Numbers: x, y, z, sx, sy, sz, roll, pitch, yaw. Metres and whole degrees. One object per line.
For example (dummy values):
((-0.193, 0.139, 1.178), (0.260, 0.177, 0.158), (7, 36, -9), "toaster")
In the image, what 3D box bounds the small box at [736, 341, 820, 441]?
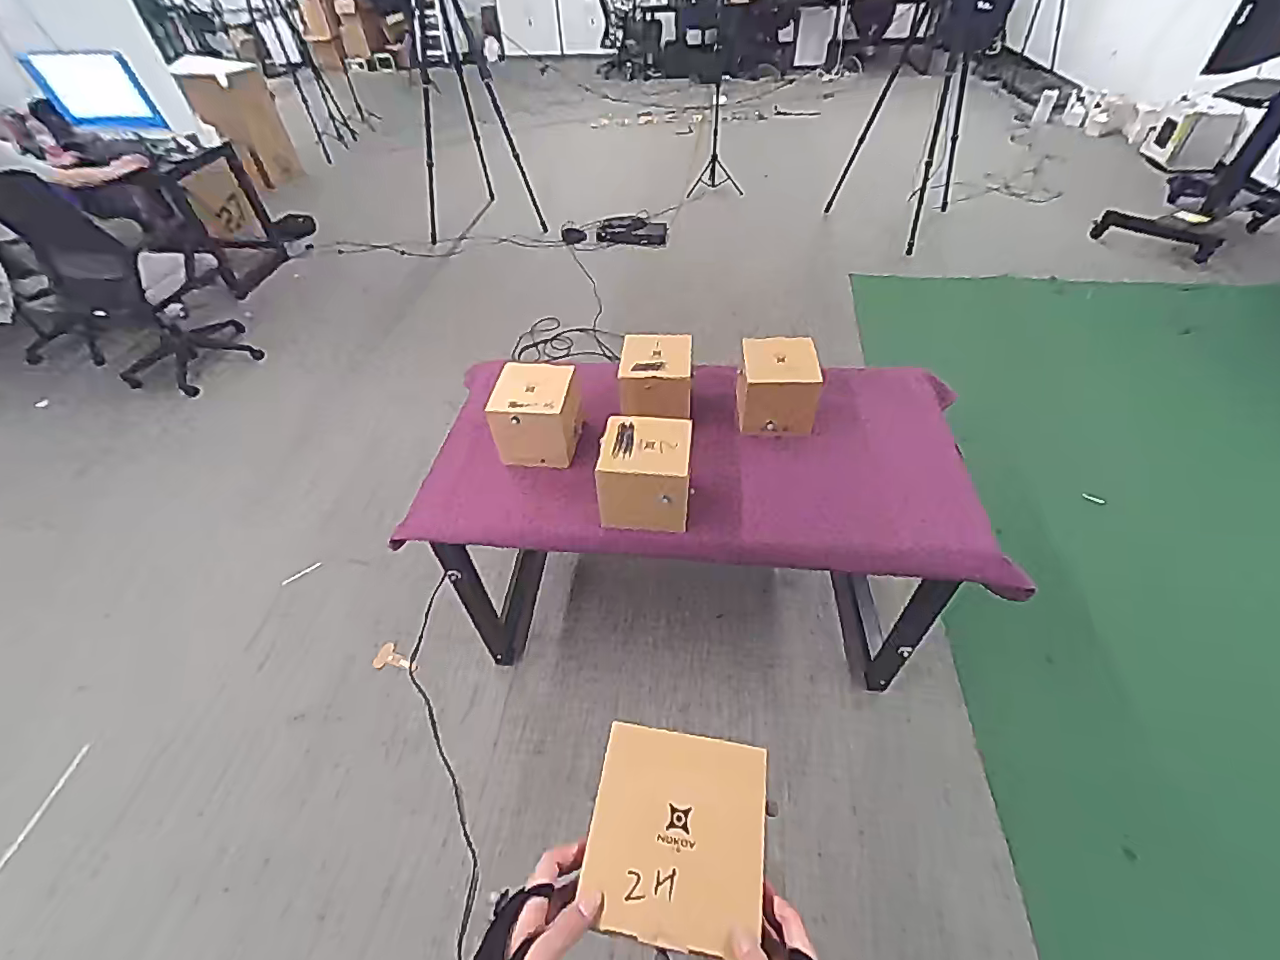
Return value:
((0.322, -0.214, 1.300), (0.168, 0.176, 0.179), (1, 47, 5), "small box")

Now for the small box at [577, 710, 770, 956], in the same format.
((0.042, 0.377, 0.580), (0.168, 0.176, 0.179), (7, 49, 10), "small box")

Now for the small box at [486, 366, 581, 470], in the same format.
((-0.237, -0.145, 1.259), (0.168, 0.176, 0.179), (2, 46, 7), "small box")

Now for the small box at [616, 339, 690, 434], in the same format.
((0.038, -0.228, 1.326), (0.168, 0.176, 0.179), (2, 46, 5), "small box")
